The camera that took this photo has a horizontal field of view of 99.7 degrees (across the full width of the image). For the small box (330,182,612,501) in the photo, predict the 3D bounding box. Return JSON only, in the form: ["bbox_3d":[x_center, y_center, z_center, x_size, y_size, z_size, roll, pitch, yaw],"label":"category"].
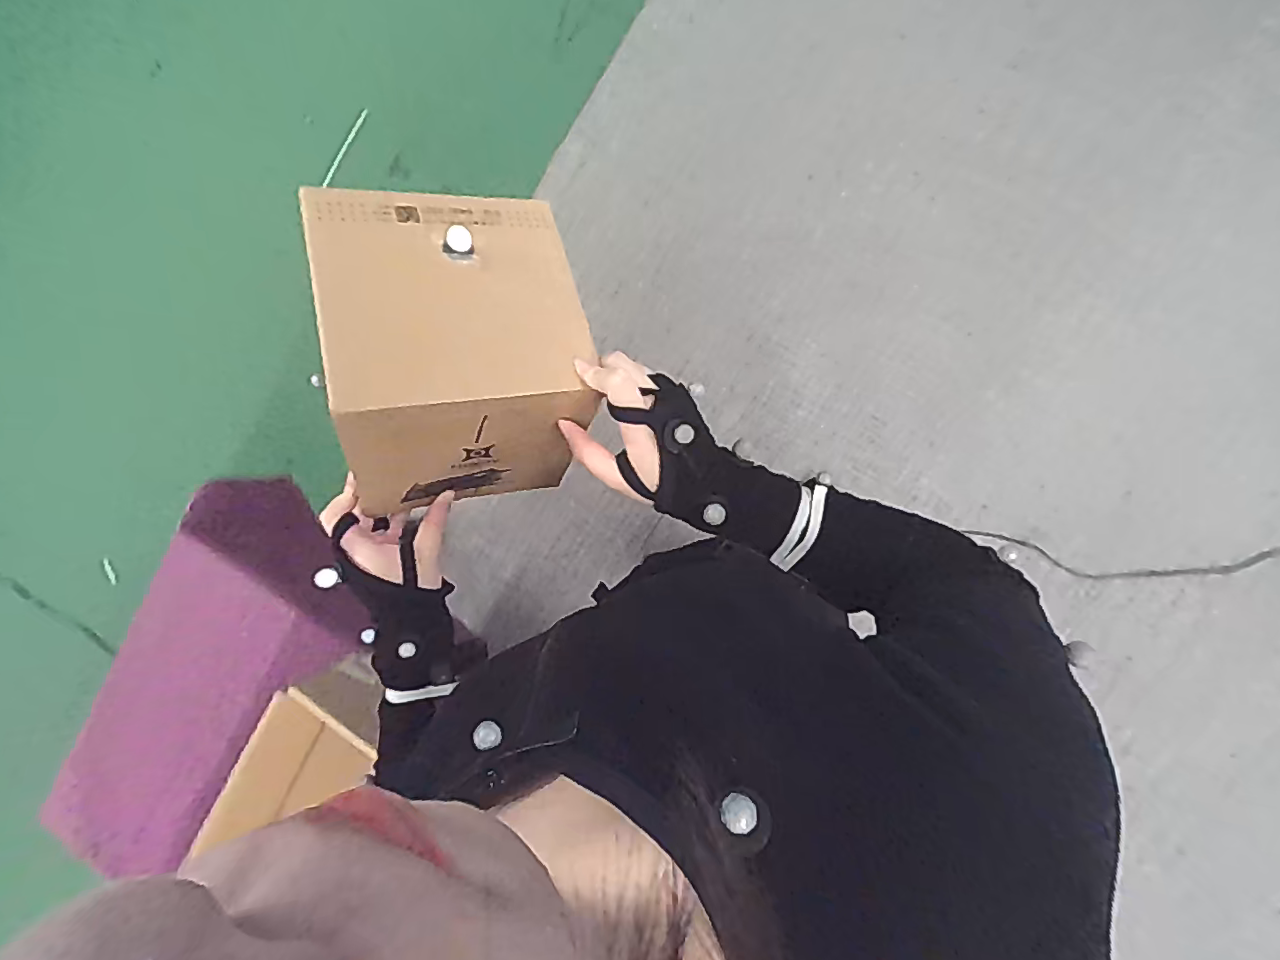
[{"bbox_3d":[-0.139,-0.099,0.436,0.168,0.179,0.176,-8,70,-23],"label":"small box"}]
